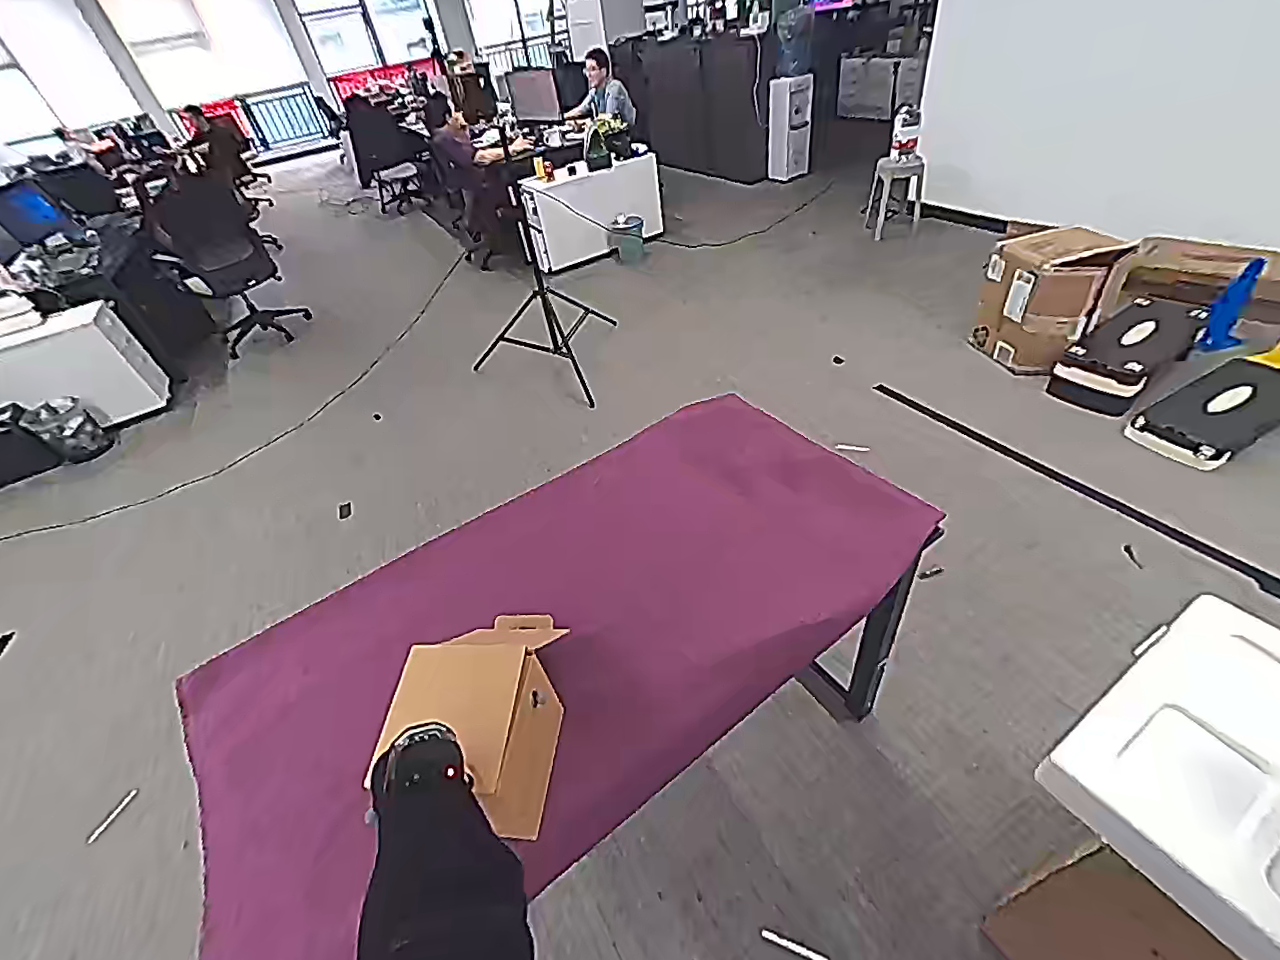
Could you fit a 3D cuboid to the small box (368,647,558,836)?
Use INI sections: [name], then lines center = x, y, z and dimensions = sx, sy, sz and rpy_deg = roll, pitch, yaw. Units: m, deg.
[small box]
center = -0.218, 0.347, 0.726
dimensions = 0.168, 0.176, 0.179
rpy_deg = -3, 42, 10
